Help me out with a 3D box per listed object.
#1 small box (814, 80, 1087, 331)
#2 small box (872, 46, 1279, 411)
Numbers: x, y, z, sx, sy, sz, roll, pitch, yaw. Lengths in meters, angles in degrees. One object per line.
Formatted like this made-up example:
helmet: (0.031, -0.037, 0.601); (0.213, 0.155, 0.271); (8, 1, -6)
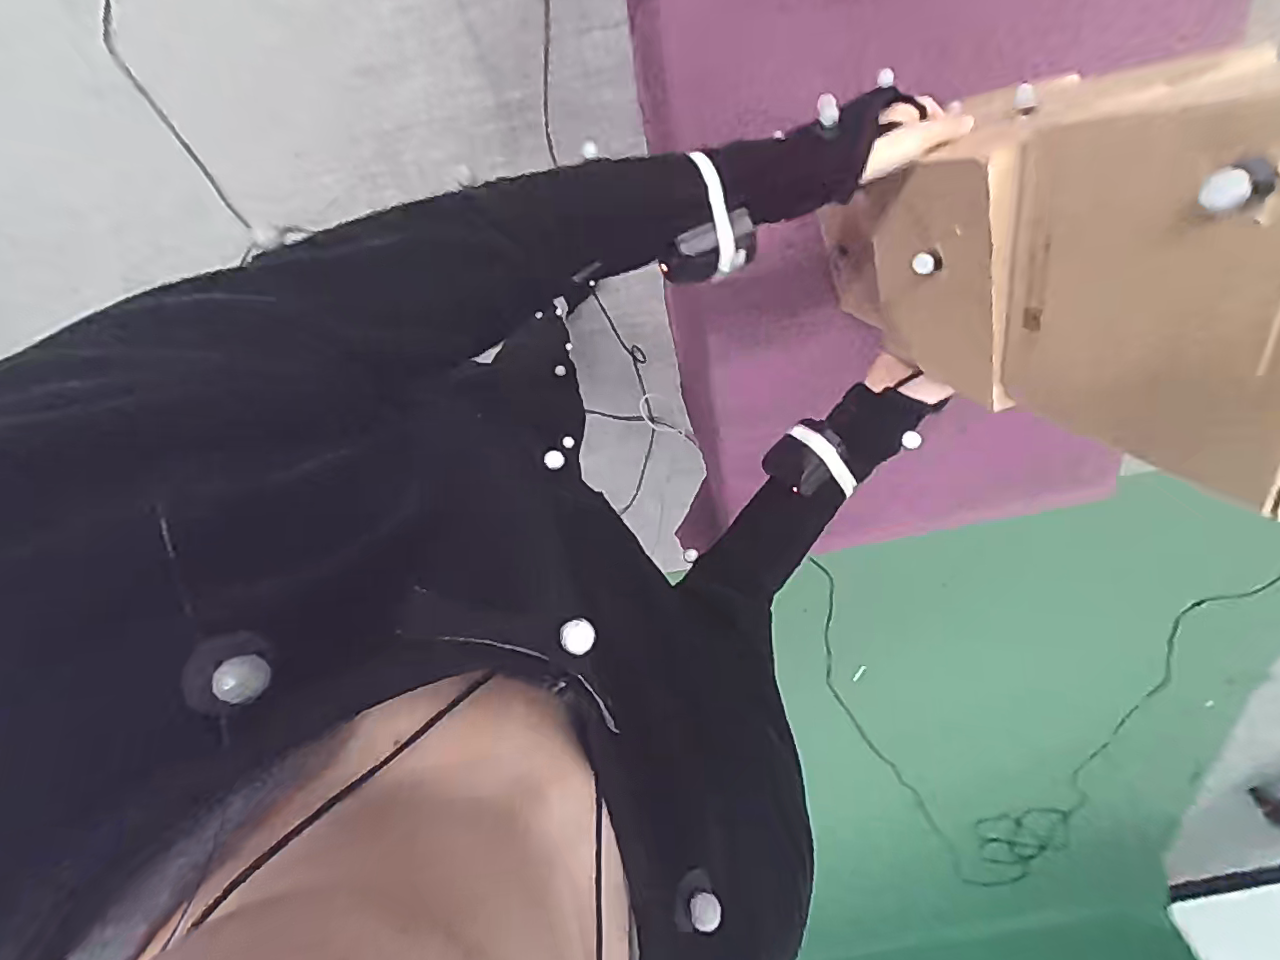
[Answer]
small box: (0.305, -0.270, 0.553); (0.179, 0.176, 0.168); (-22, 118, 9)
small box: (0.296, -0.182, 0.414); (0.168, 0.176, 0.179); (-18, 119, 6)
